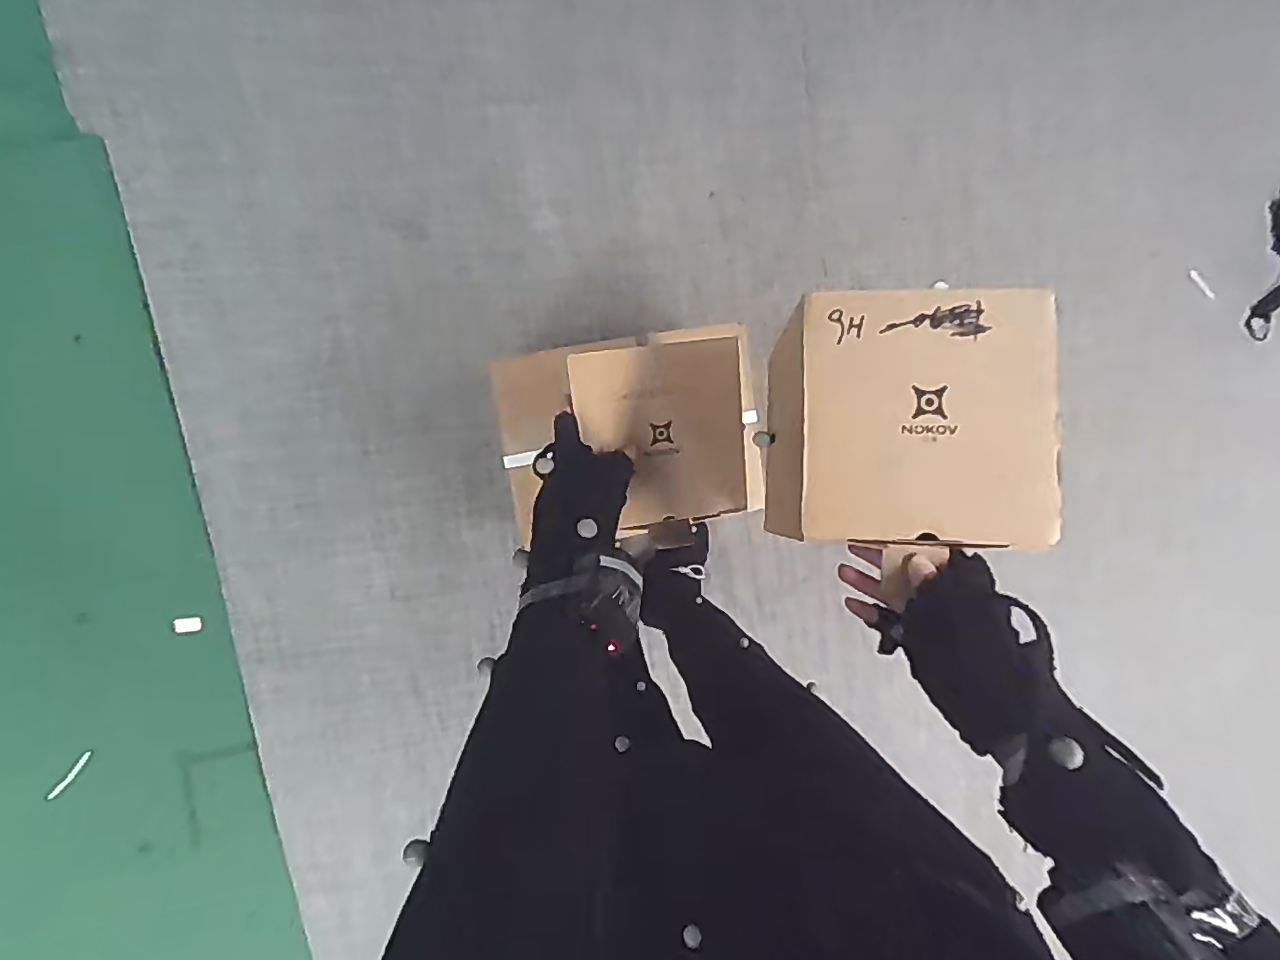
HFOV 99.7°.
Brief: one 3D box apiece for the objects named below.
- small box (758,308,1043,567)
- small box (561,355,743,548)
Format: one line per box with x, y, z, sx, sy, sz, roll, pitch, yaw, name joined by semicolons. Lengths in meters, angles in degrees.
0.193;-0.029;0.447;0.168;0.176;0.179;1;88;5;small box
0.005;-0.042;0.605;0.168;0.176;0.179;-9;101;-8;small box
